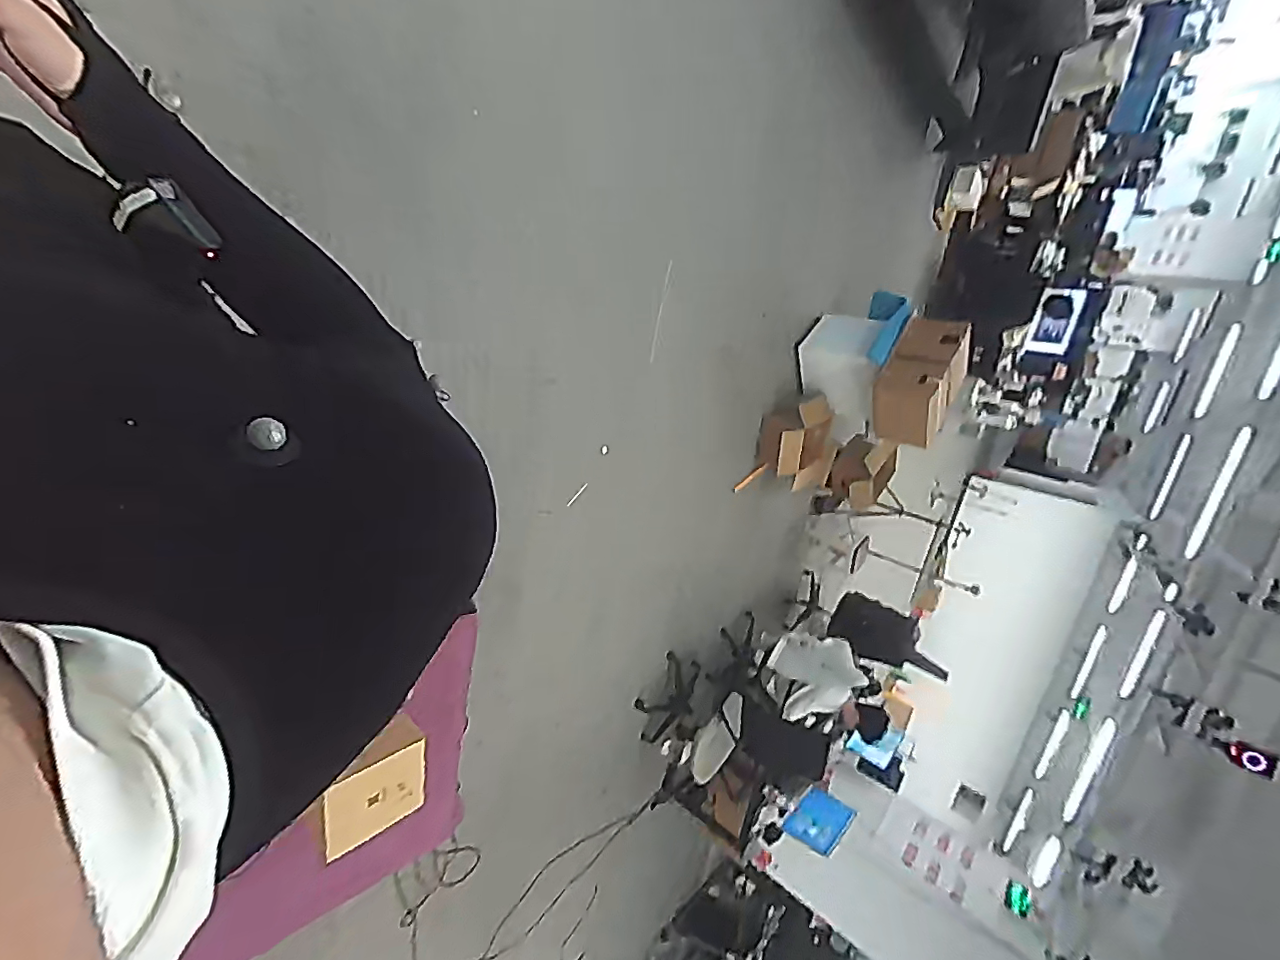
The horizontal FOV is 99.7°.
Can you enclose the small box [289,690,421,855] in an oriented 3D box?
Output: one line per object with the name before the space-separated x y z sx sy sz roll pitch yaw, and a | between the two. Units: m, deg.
small box | -0.535 0.532 1.012 0.179 0.176 0.168 -13 118 -49
